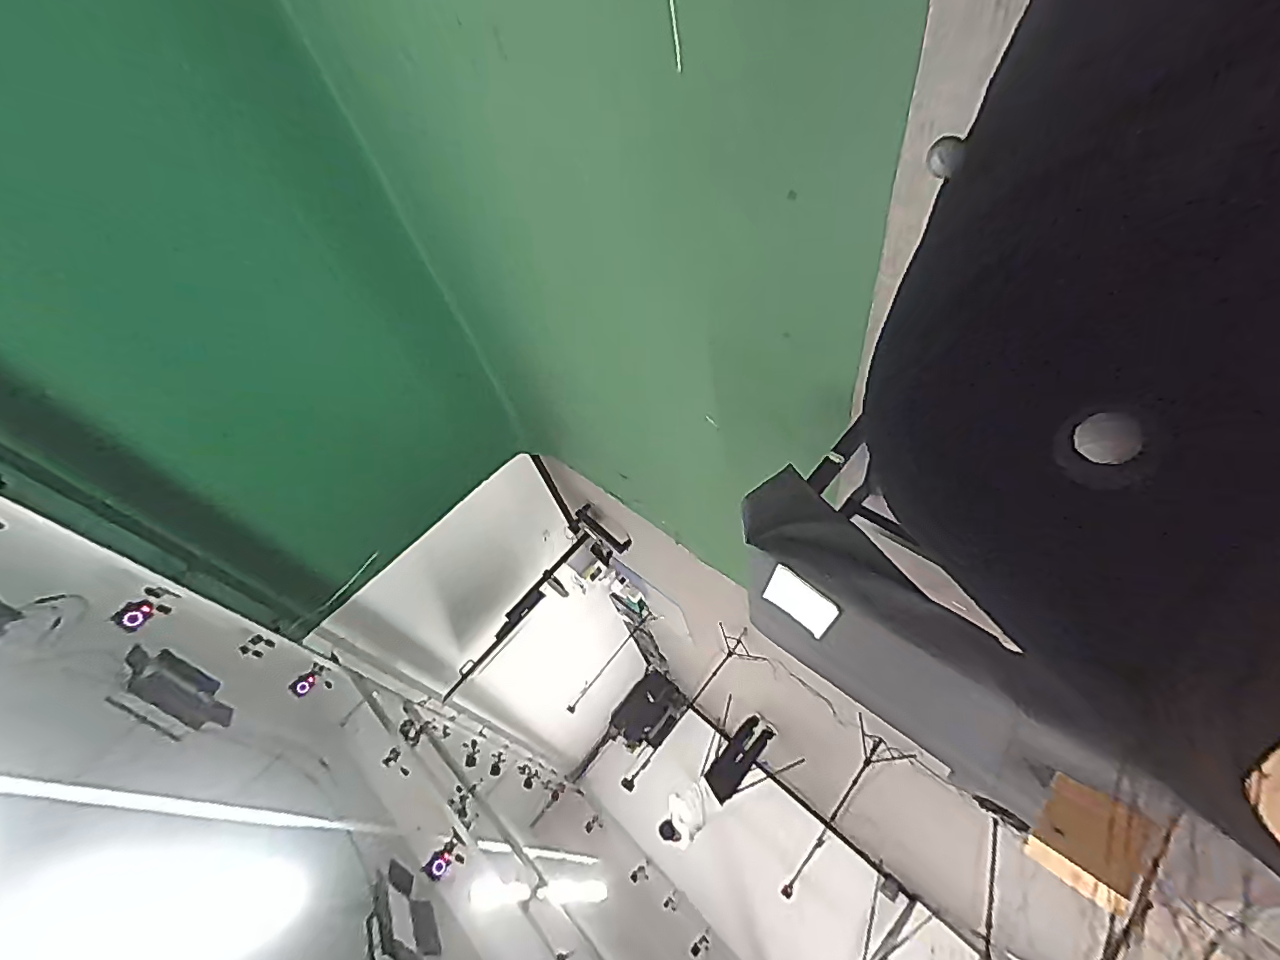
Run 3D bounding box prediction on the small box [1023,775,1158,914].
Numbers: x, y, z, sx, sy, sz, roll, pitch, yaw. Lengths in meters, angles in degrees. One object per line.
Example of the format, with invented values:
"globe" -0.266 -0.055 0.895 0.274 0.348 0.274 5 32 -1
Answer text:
"small box" 0.980 0.790 1.181 0.179 0.176 0.168 26 153 43
